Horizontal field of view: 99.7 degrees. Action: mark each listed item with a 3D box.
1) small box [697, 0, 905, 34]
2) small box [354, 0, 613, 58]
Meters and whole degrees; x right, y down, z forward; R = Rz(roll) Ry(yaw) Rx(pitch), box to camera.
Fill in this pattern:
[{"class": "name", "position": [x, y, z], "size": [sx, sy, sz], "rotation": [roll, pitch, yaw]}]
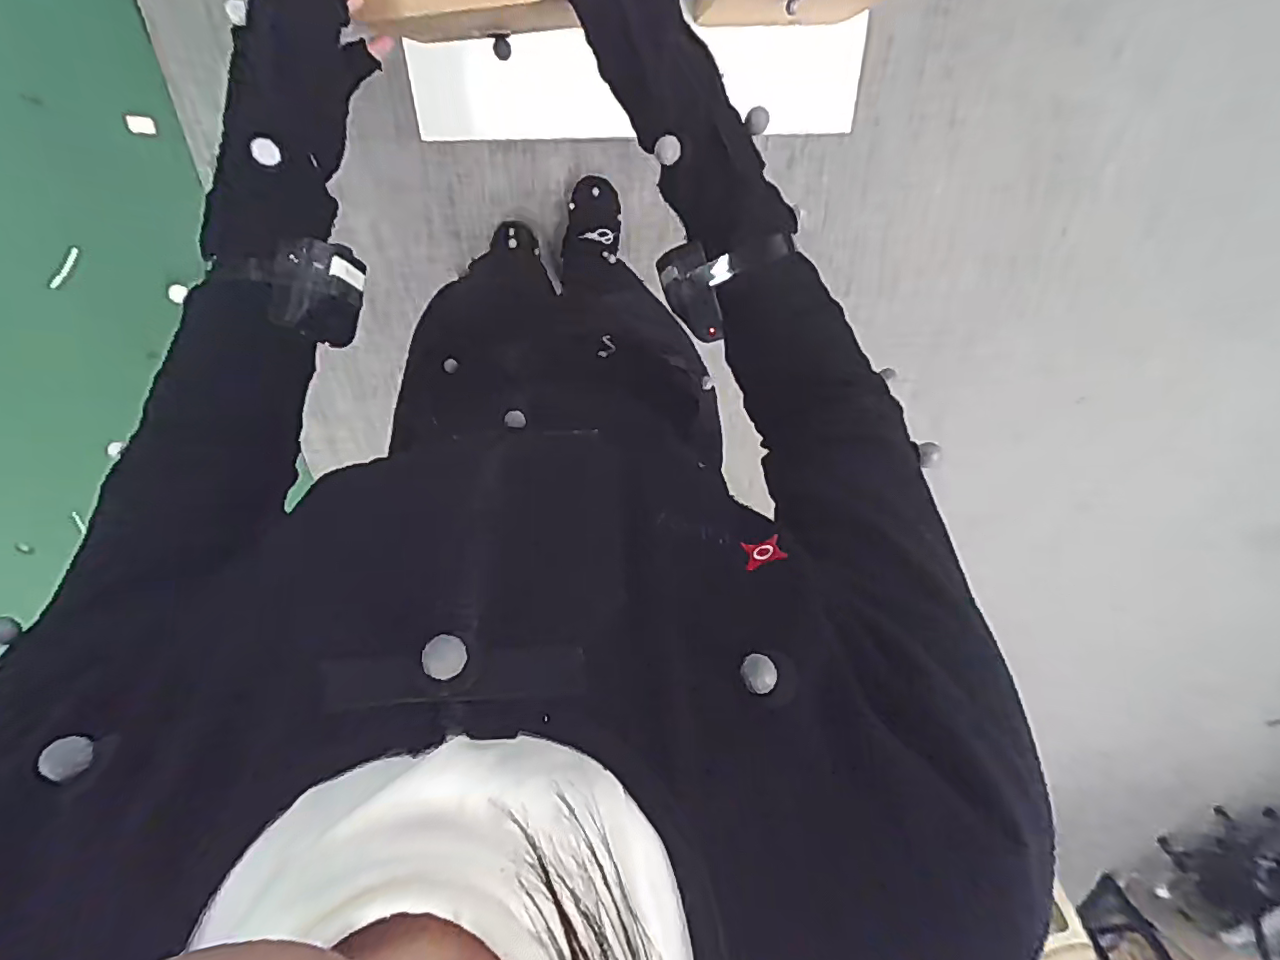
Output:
[{"class": "small box", "position": [0.148, -0.524, 0.478], "size": [0.168, 0.176, 0.179], "rotation": [-3, 122, -5]}, {"class": "small box", "position": [-0.113, -0.420, 0.378], "size": [0.168, 0.176, 0.179], "rotation": [-5, 125, 5]}]
